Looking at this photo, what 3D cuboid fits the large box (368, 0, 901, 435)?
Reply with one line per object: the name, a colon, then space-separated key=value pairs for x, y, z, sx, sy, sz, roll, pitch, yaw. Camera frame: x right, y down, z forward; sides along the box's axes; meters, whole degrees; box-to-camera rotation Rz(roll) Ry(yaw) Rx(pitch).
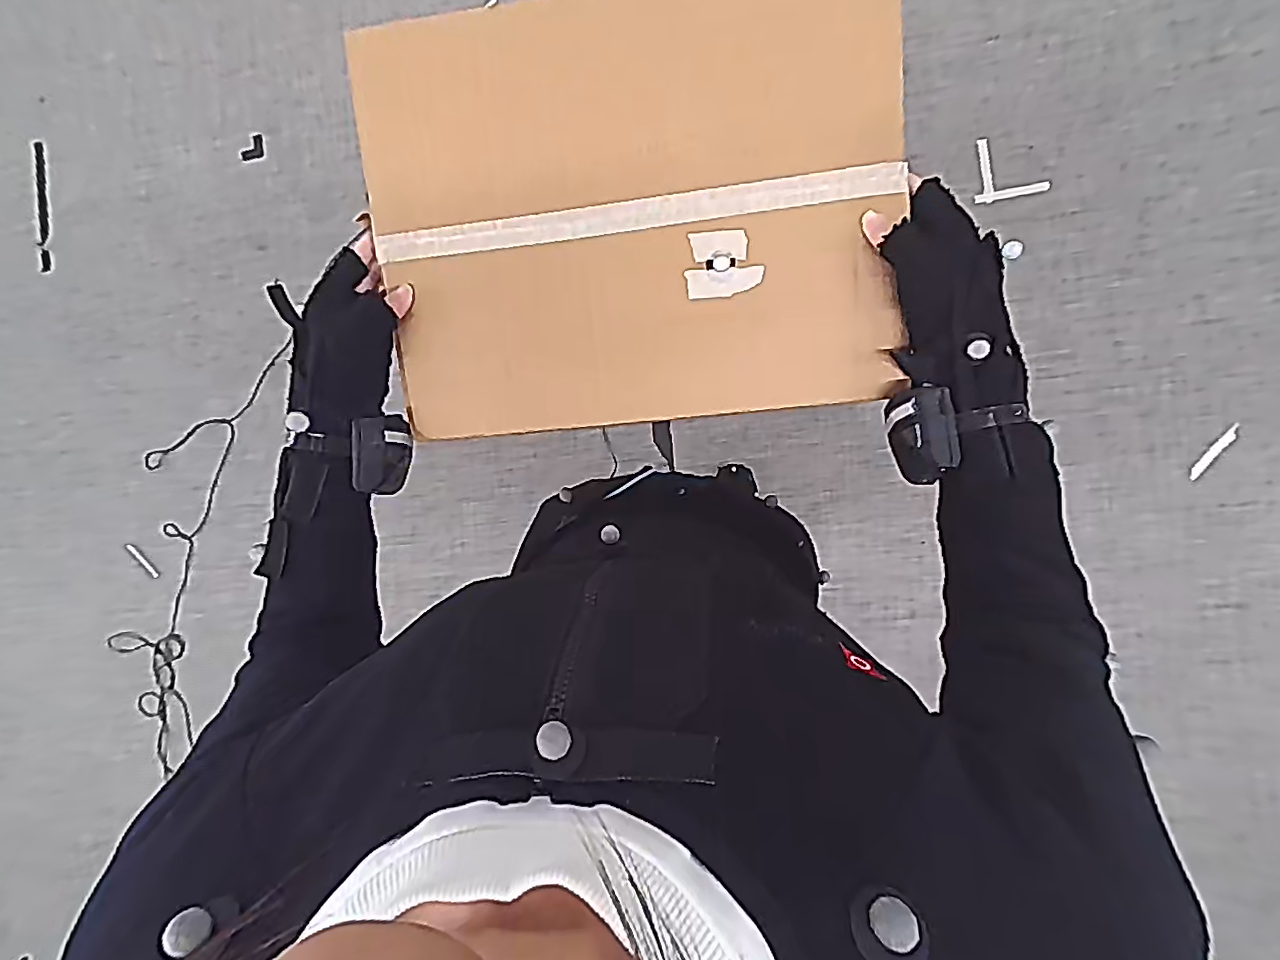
large box: x=0.007 y=-0.233 z=0.574 sx=0.408 sy=0.320 sz=0.320 roll=-5 pitch=100 yaw=6
